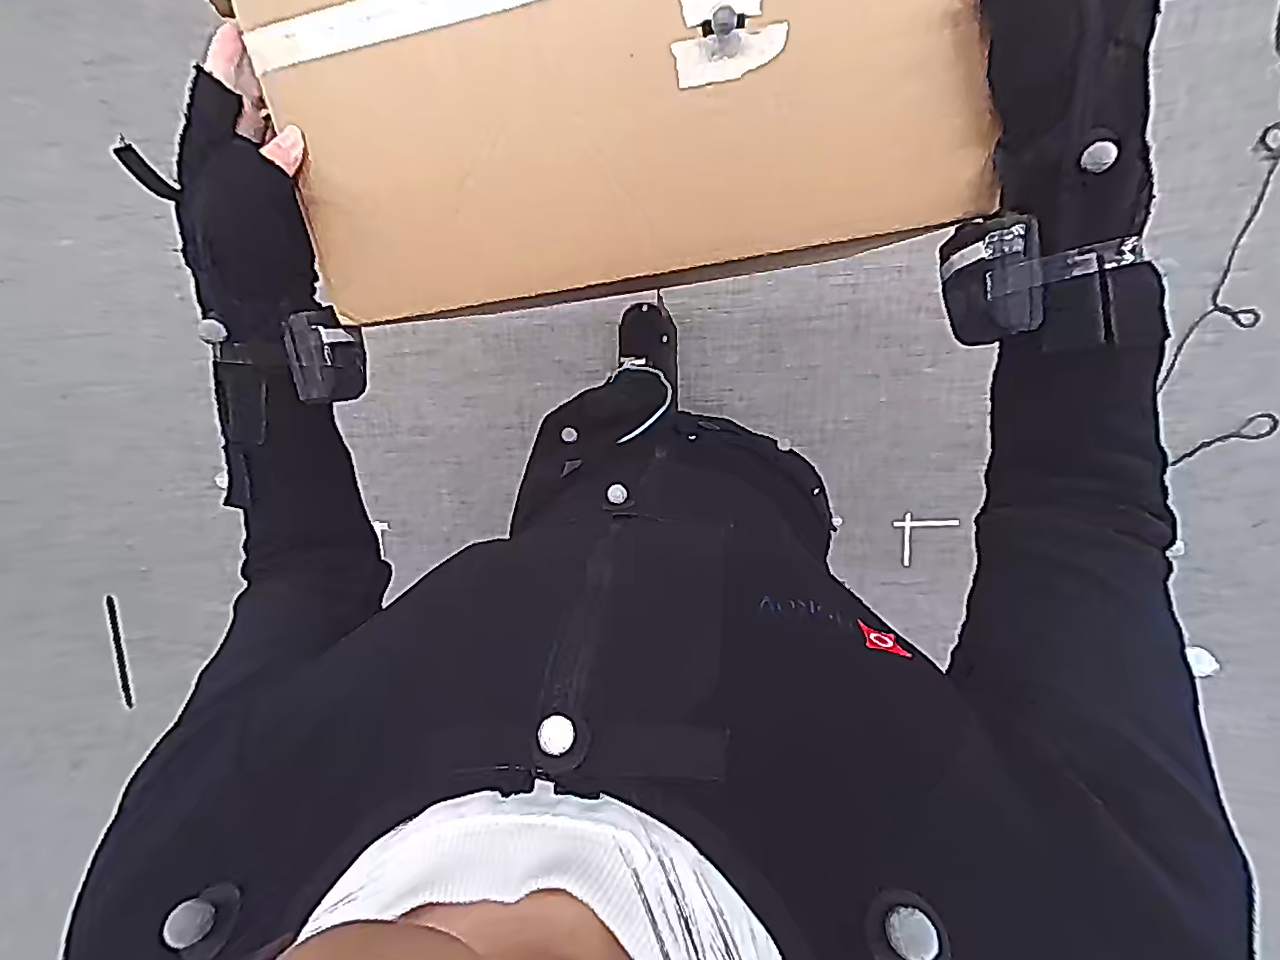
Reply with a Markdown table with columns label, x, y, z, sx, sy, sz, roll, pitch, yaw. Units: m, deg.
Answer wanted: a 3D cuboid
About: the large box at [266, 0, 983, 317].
| label | x | y | z | sx | sy | sz | roll | pitch | yaw |
| --- | --- | --- | --- | --- | --- | --- | --- | --- | --- |
| large box | -0.008 | -0.328 | 0.437 | 0.408 | 0.320 | 0.320 | -7 | 109 | 9 |
